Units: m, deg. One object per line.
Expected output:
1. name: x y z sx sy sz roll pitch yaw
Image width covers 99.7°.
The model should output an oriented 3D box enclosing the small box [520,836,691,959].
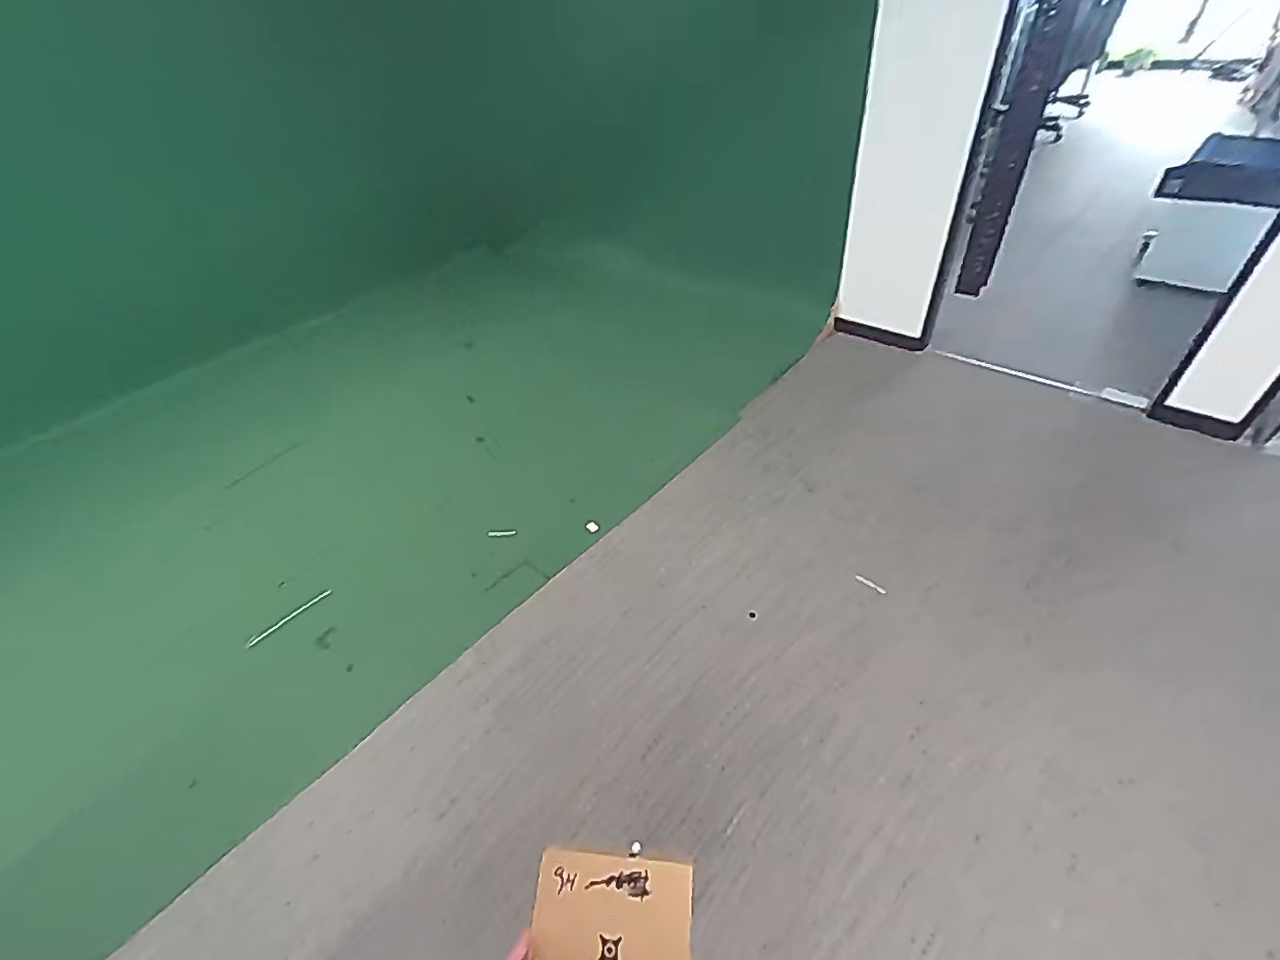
1. small box: -0.031 0.514 0.604 0.168 0.176 0.179 2 59 7
